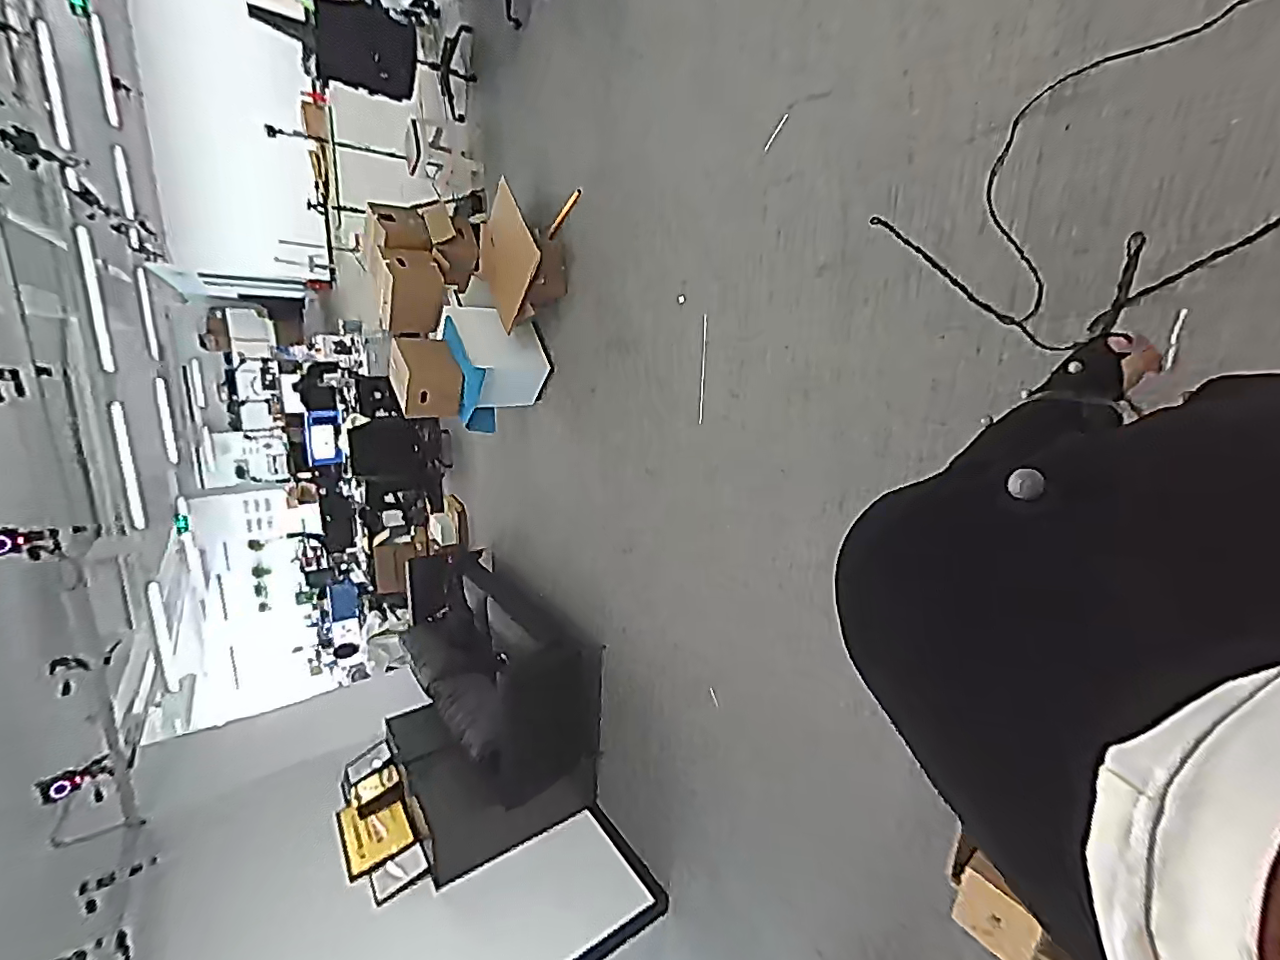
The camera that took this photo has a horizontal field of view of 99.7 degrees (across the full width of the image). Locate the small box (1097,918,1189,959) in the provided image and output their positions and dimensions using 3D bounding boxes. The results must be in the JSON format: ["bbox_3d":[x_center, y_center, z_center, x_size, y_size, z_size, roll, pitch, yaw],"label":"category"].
[{"bbox_3d":[1.054,1.081,1.120,0.168,0.176,0.179,22,114,51],"label":"small box"}]

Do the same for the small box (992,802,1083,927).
[{"bbox_3d":[1.032,1.002,1.429,0.168,0.176,0.179,24,116,50],"label":"small box"}]

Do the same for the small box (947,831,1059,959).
[{"bbox_3d":[0.898,1.023,1.335,0.168,0.176,0.179,25,116,50],"label":"small box"}]
